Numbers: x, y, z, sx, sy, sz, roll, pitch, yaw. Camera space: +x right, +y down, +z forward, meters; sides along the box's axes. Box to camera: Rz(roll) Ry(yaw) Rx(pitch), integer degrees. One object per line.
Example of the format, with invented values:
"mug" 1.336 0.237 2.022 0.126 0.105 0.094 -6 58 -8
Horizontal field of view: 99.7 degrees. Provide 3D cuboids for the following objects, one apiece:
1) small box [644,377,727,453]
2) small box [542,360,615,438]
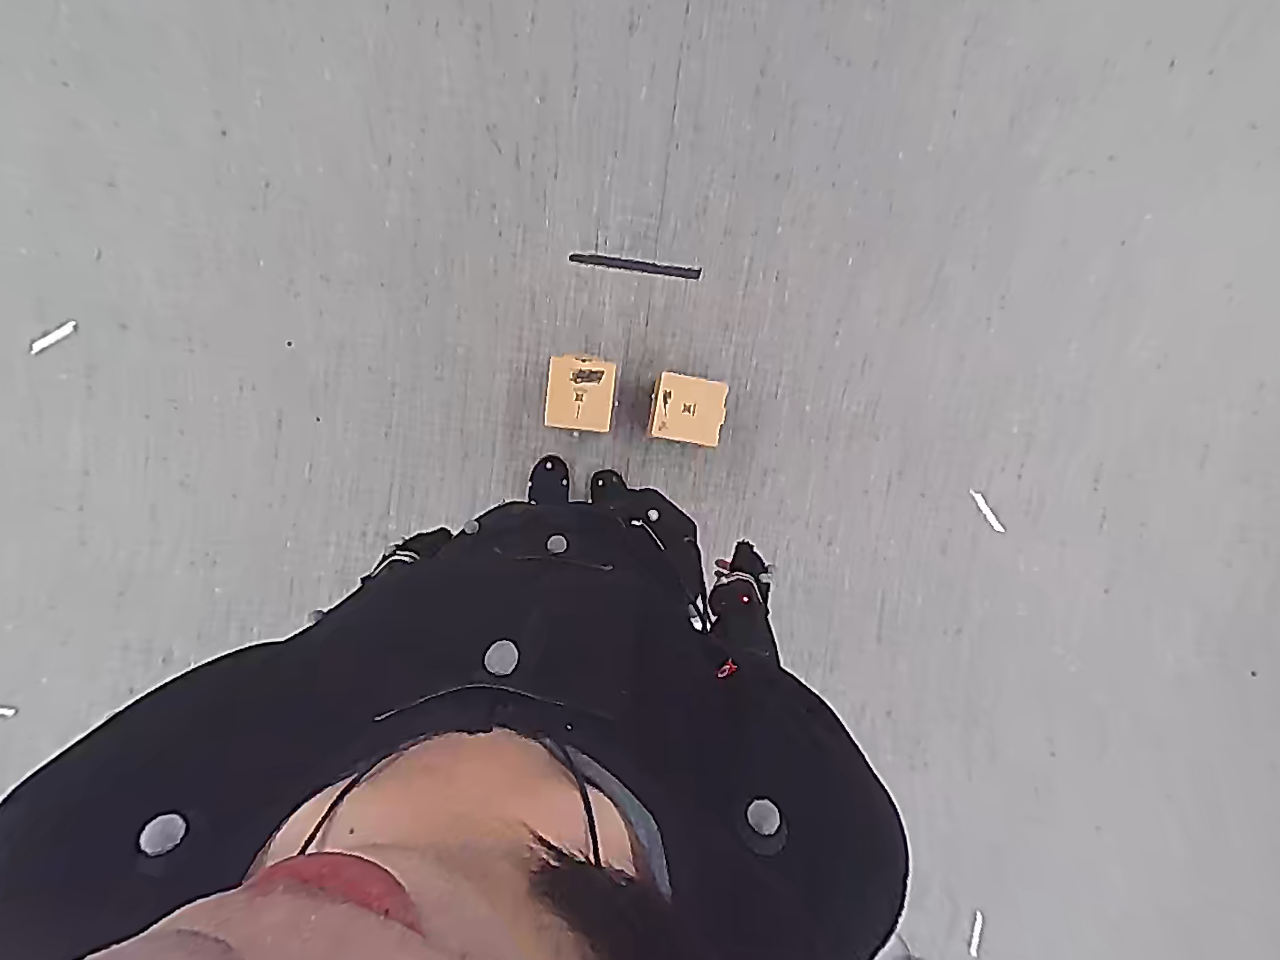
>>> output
"small box" 0.115 -0.171 1.445 0.179 0.176 0.168 10 93 -6
"small box" -0.158 -0.207 1.422 0.168 0.176 0.179 7 94 -4
